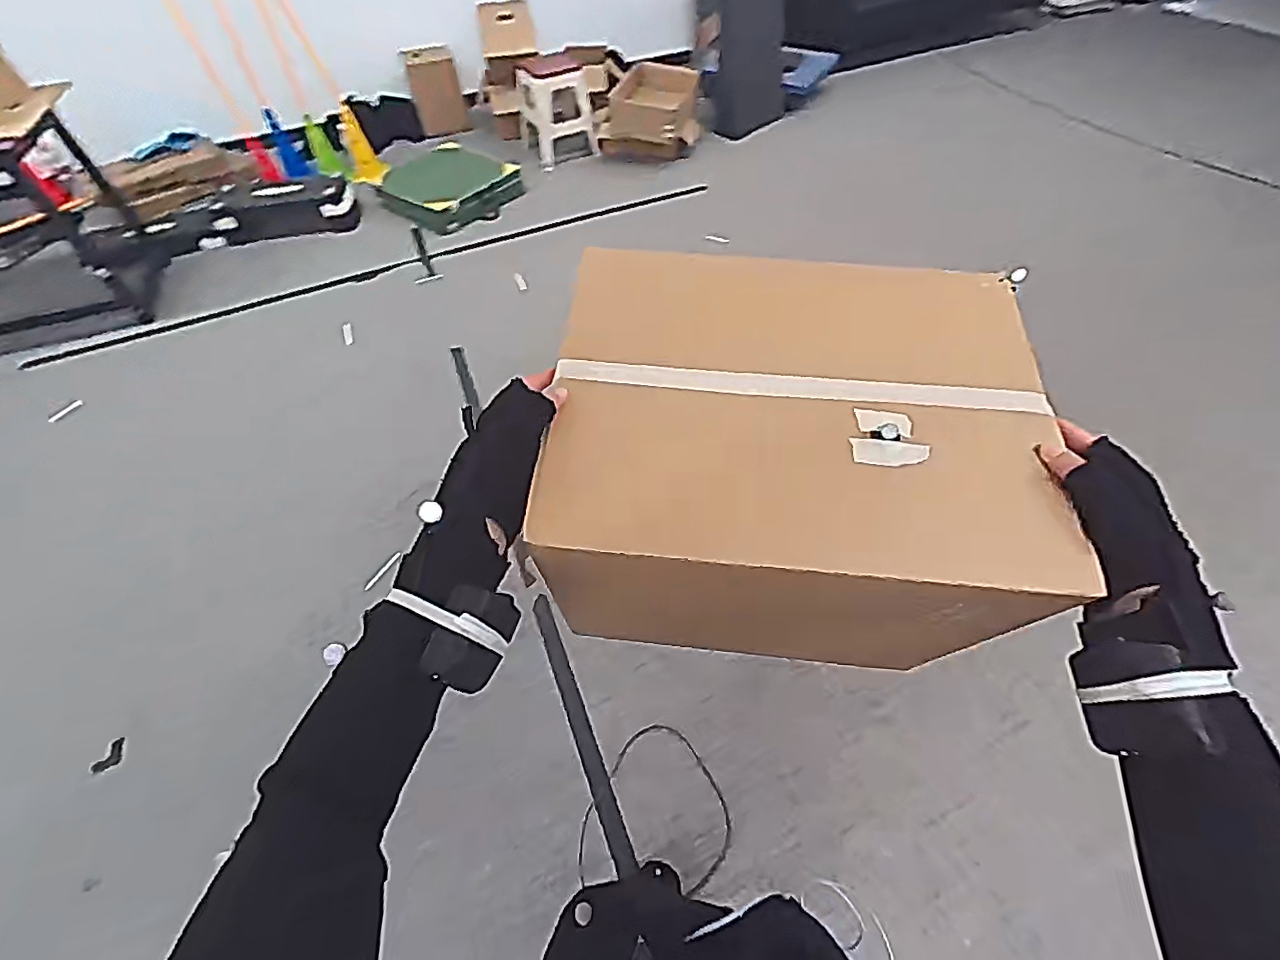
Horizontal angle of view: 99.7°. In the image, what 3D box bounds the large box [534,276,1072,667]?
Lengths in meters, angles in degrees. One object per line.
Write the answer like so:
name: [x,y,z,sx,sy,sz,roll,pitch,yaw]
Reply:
large box: [0.126,0.010,0.597,0.408,0.320,0.320,4,62,2]
